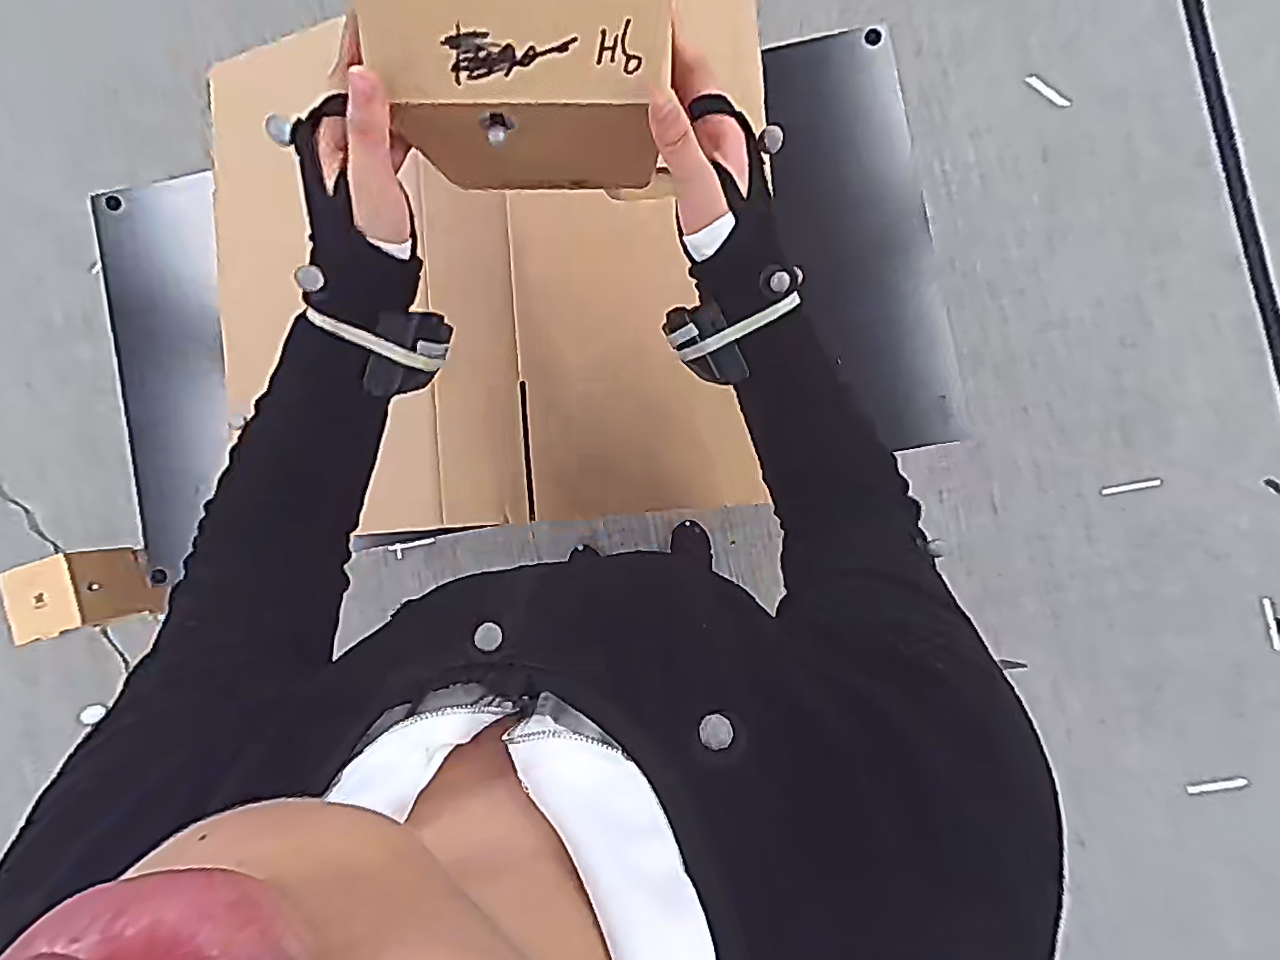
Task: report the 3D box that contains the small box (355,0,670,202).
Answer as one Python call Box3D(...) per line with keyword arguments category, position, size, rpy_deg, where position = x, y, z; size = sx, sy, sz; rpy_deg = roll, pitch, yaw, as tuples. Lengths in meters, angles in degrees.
Box3D(category="small box", position=(-0.070, -0.302, 0.353), size=(0.168, 0.176, 0.179), rpy_deg=(-1, 103, -2))

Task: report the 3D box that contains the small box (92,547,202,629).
Box3D(category="small box", position=(-1.353, 0.286, 1.474), size=(0.168, 0.176, 0.179), rpy_deg=(-14, 88, 2))

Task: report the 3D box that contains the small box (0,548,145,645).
Box3D(category="small box", position=(-1.364, 0.275, 1.312), size=(0.168, 0.176, 0.179), rpy_deg=(-18, 86, 1))
